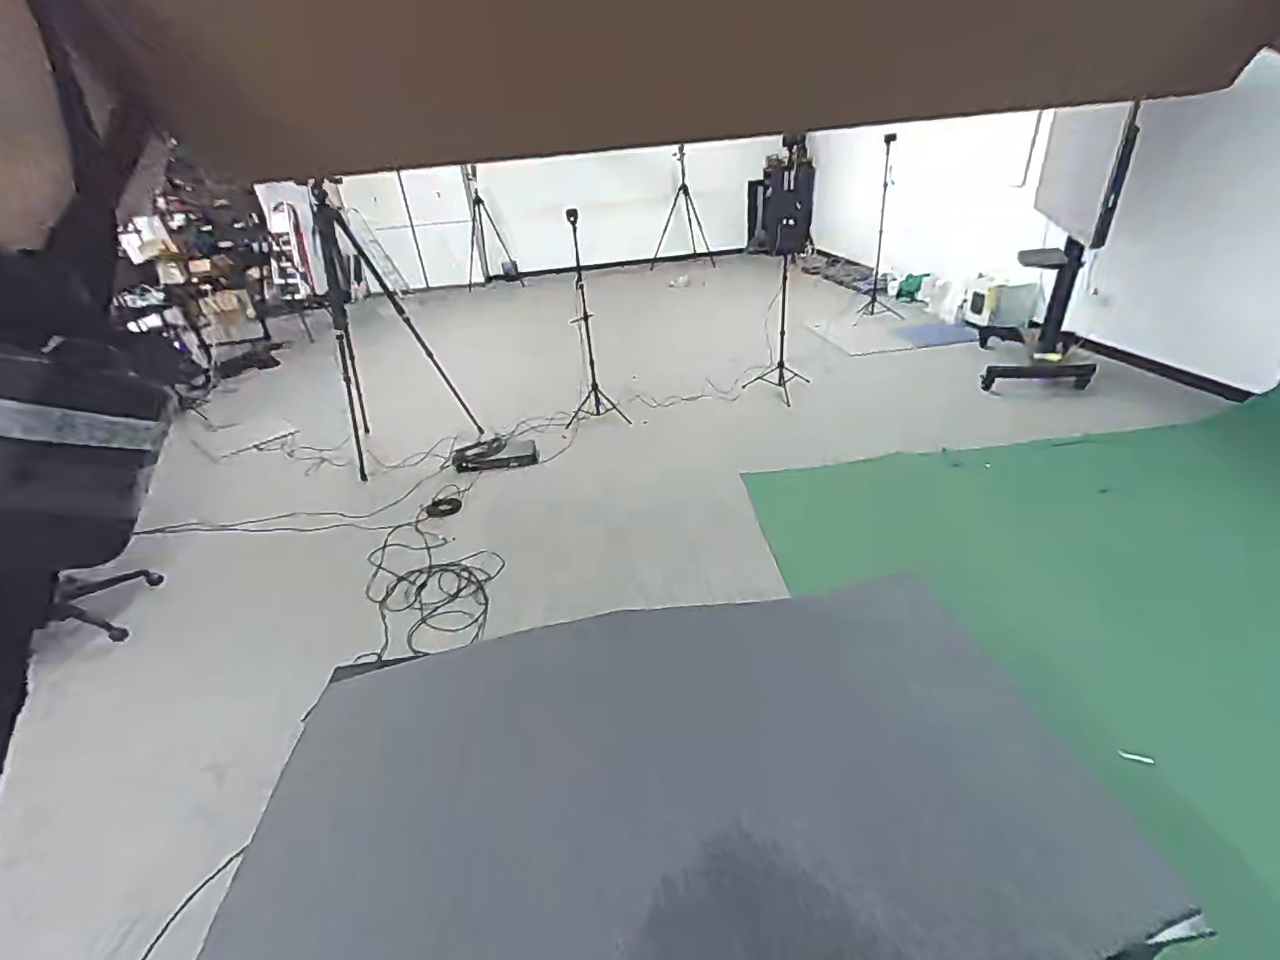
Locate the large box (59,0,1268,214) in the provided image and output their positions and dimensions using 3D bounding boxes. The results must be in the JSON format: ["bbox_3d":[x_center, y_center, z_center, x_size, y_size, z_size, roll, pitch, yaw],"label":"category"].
[{"bbox_3d":[0.011,-0.324,0.152,0.408,0.320,0.320,-7,66,-3],"label":"large box"}]
